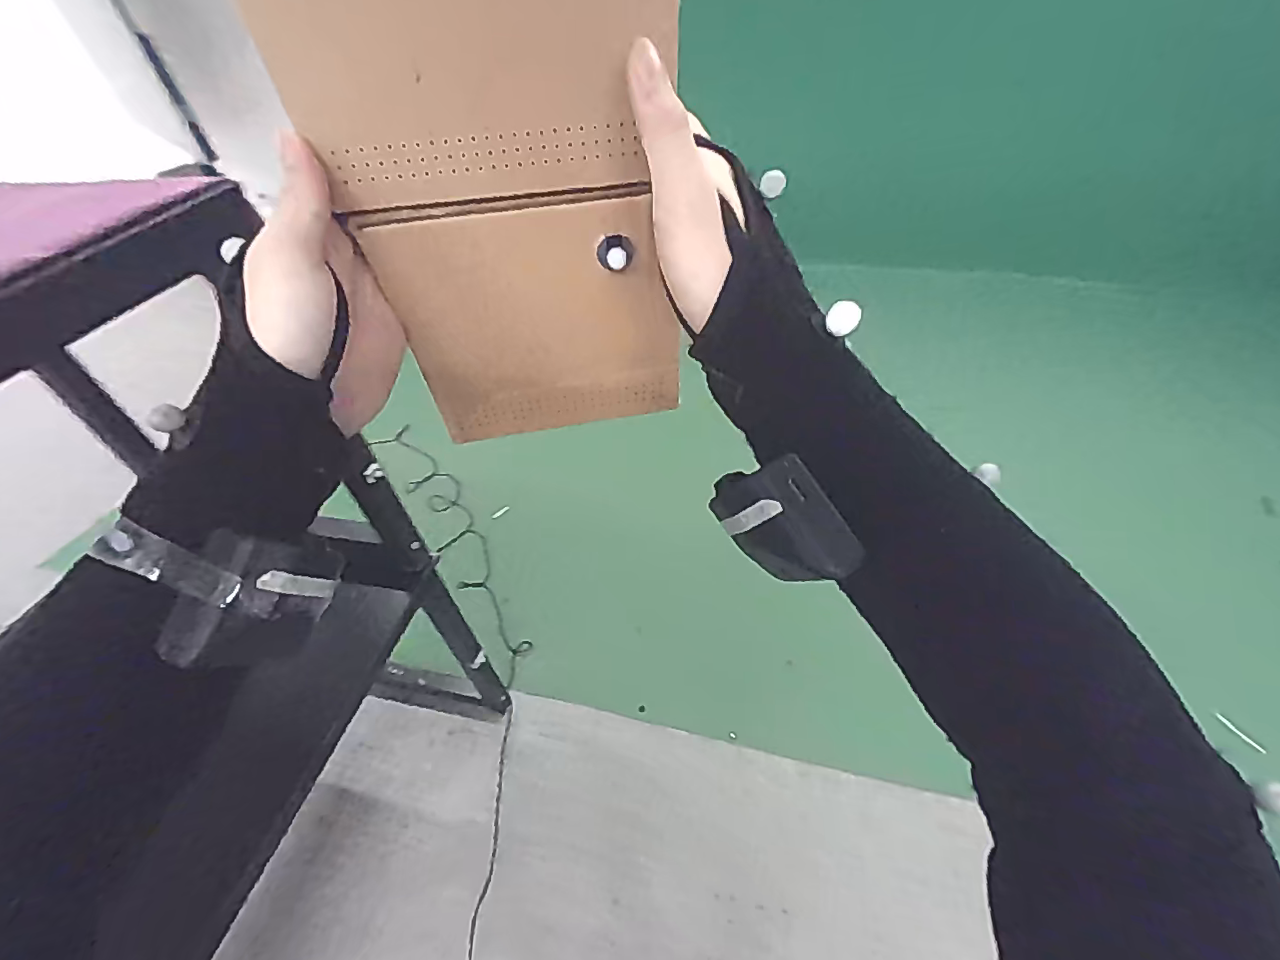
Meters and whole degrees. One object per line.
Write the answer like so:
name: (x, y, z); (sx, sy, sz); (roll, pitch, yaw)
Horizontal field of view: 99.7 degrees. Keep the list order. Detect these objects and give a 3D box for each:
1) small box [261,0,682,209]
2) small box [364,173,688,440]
small box: (-0.076, -0.252, 0.263); (0.179, 0.176, 0.168); (-7, 52, -5)
small box: (-0.068, -0.147, 0.395); (0.179, 0.176, 0.168); (-9, 51, -6)
